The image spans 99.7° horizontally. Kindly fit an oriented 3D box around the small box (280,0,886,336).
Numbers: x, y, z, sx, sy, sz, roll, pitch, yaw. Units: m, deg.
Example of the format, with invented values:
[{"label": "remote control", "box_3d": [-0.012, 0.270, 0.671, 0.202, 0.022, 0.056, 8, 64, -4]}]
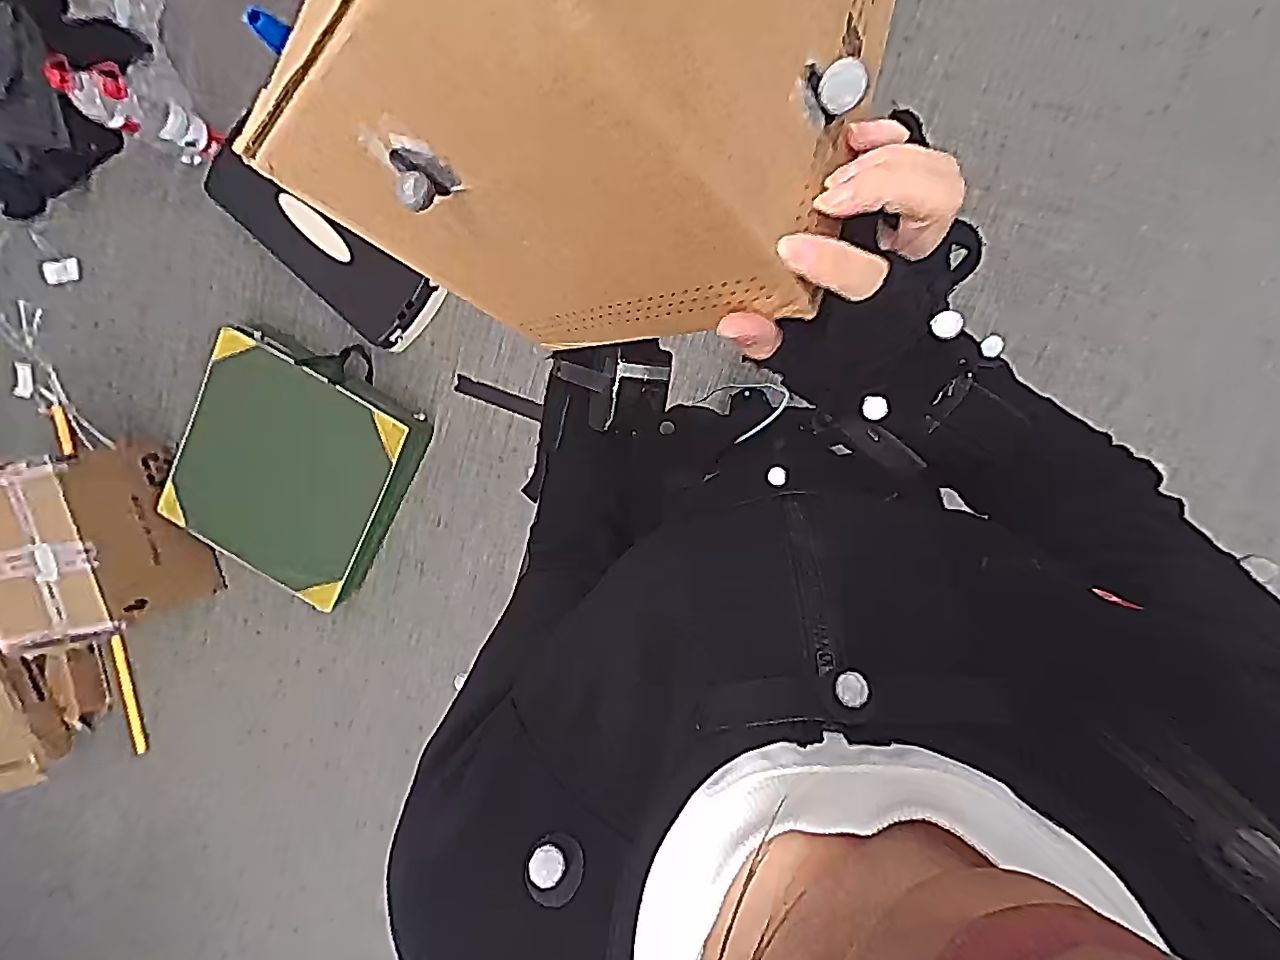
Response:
[{"label": "small box", "box_3d": [-0.017, -0.178, 0.241, 0.179, 0.176, 0.168, 6, 78, 42]}]
